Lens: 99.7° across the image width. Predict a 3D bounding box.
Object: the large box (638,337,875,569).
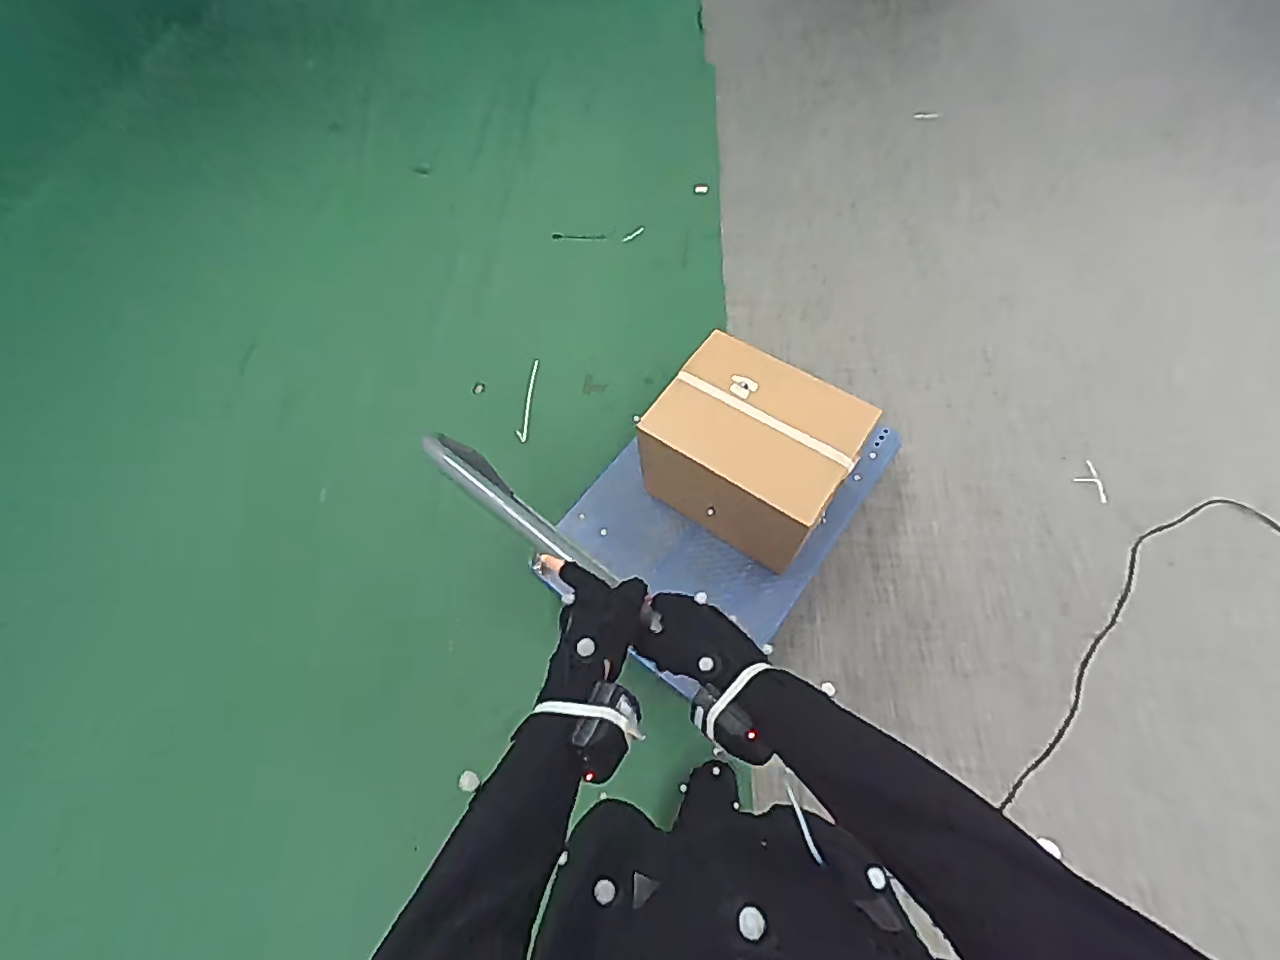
[{"bbox_3d":[0.255,-0.055,1.259,0.408,0.320,0.320,31,68,19],"label":"large box"}]
